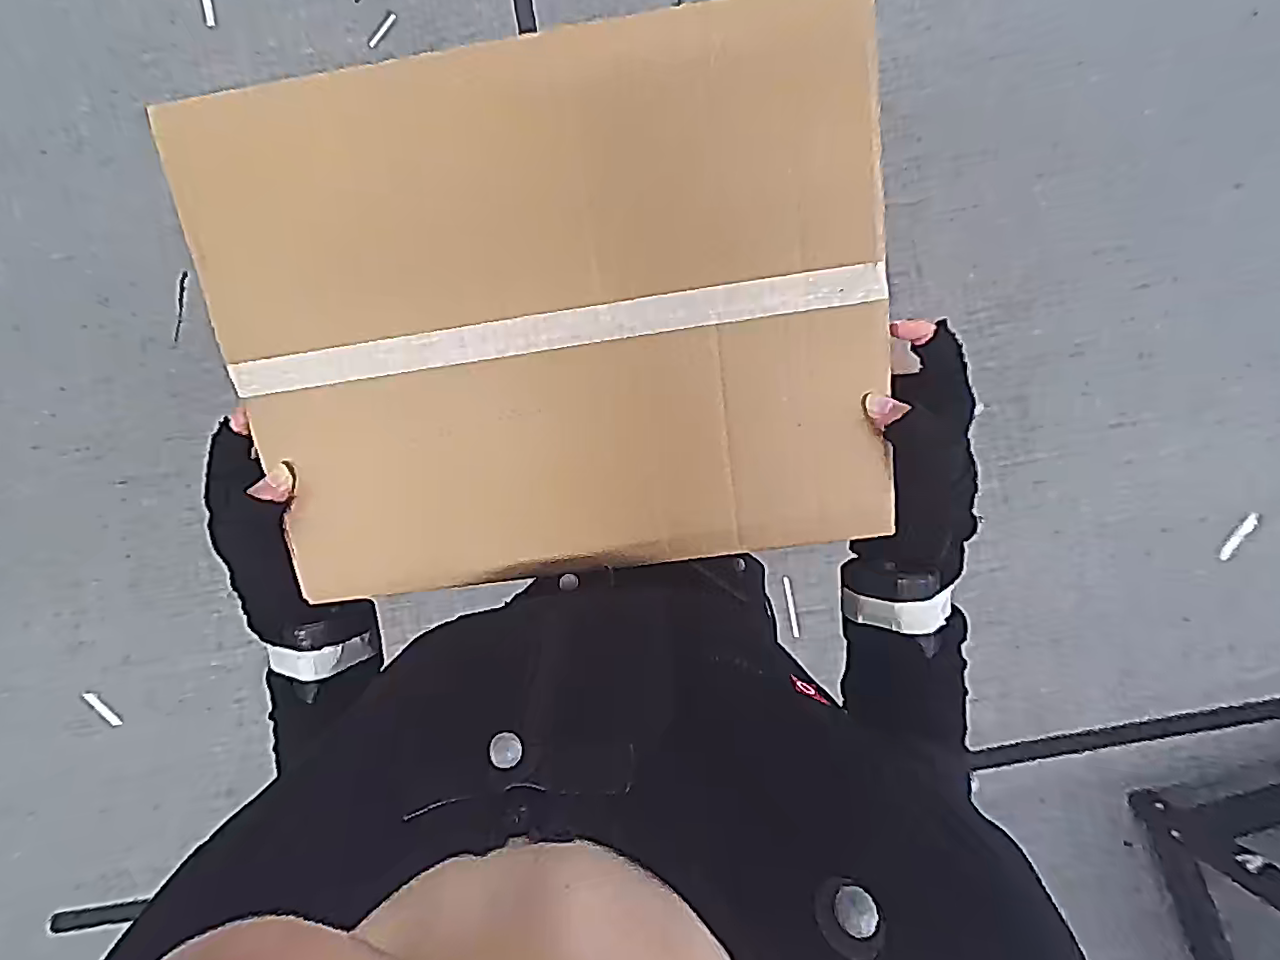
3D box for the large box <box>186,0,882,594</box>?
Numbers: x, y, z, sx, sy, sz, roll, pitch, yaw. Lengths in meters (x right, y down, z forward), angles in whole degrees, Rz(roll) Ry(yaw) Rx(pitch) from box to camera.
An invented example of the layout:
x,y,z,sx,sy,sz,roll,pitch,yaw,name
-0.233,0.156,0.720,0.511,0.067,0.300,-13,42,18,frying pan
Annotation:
x,y,z,sx,sy,sz,roll,pitch,yaw,name
-0.053,-0.126,0.486,0.408,0.320,0.320,-8,104,4,large box
